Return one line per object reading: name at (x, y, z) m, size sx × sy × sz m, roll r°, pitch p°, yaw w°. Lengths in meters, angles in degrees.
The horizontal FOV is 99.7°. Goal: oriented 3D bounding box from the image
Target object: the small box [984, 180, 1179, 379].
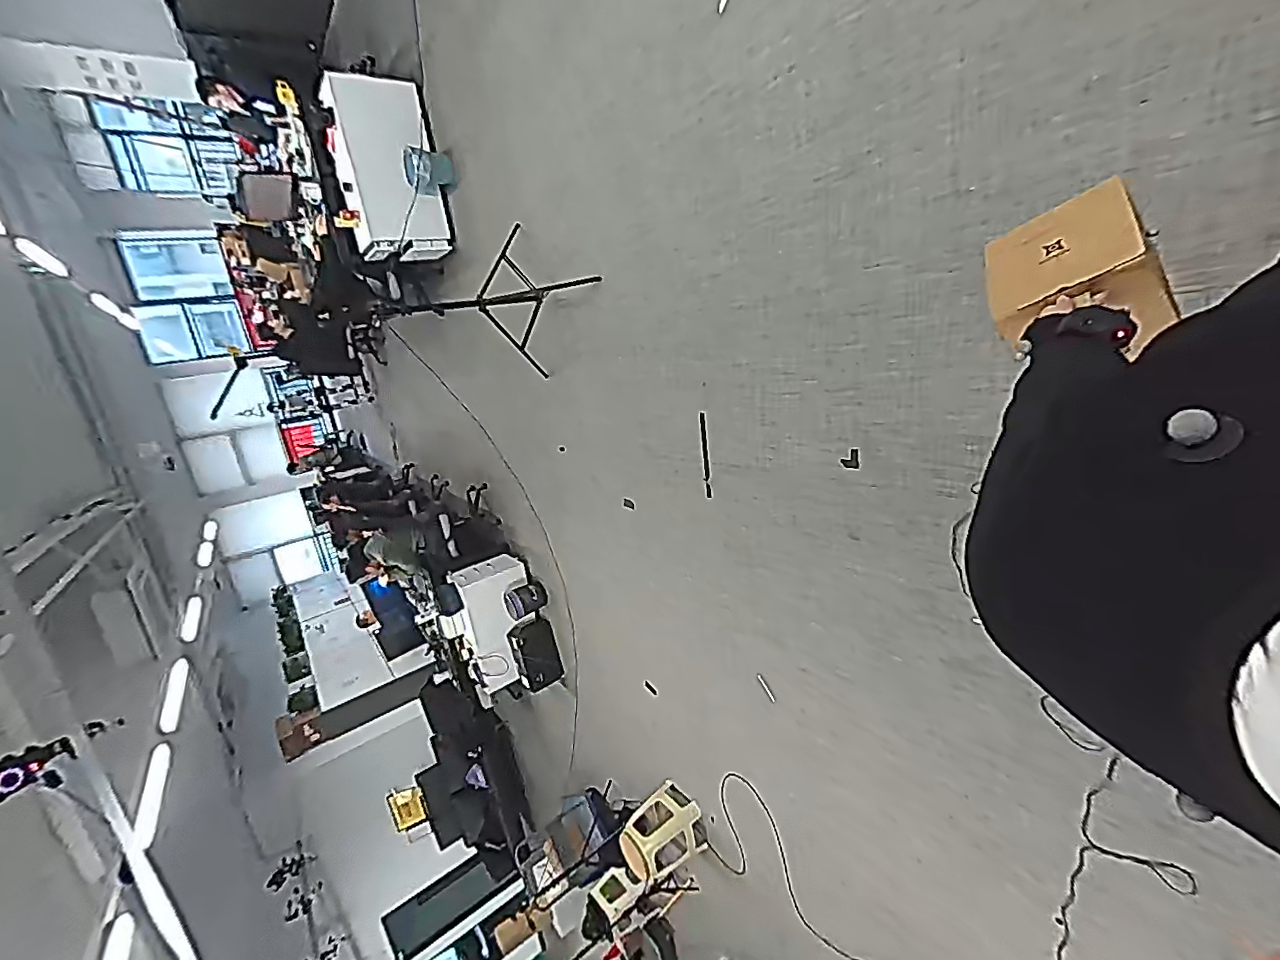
small box at (0.620, -0.268, 0.769) m, size 0.176 × 0.179 × 0.168 m, roll 35°, pitch 146°, yaw -27°
